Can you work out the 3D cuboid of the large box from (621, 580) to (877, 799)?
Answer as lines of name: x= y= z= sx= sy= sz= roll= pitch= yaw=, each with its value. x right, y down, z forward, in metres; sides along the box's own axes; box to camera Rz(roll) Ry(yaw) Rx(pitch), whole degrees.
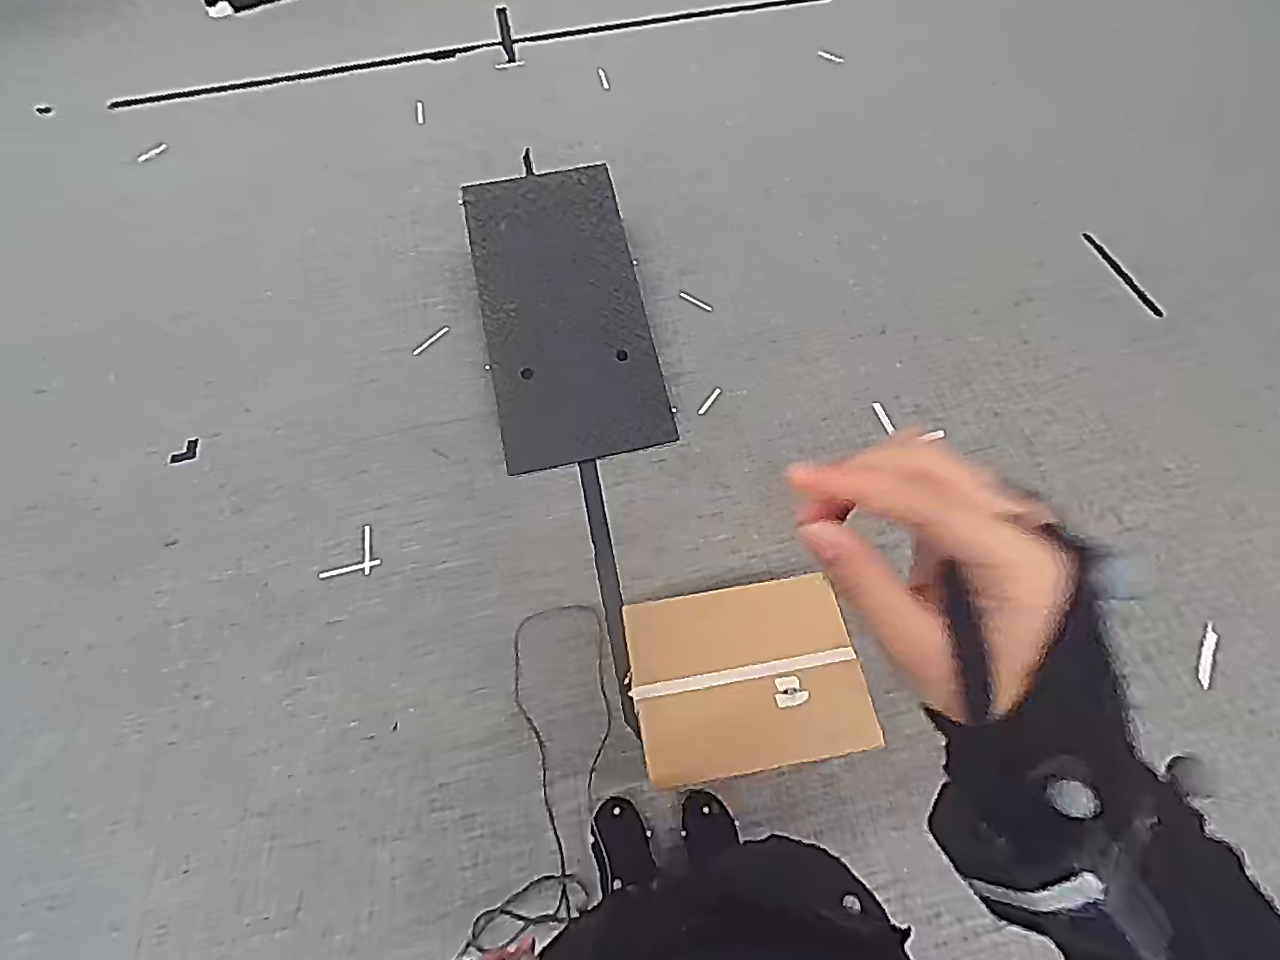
large box: x=0.184 y=0.429 z=1.103 sx=0.408 sy=0.320 sz=0.320 roll=-9 pitch=64 yaw=-5

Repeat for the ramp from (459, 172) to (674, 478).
ramp: x=-0.243 y=-0.516 z=1.657 sx=0.509 sy=0.206 sz=0.991 roll=-13 pitch=64 yaw=-7
